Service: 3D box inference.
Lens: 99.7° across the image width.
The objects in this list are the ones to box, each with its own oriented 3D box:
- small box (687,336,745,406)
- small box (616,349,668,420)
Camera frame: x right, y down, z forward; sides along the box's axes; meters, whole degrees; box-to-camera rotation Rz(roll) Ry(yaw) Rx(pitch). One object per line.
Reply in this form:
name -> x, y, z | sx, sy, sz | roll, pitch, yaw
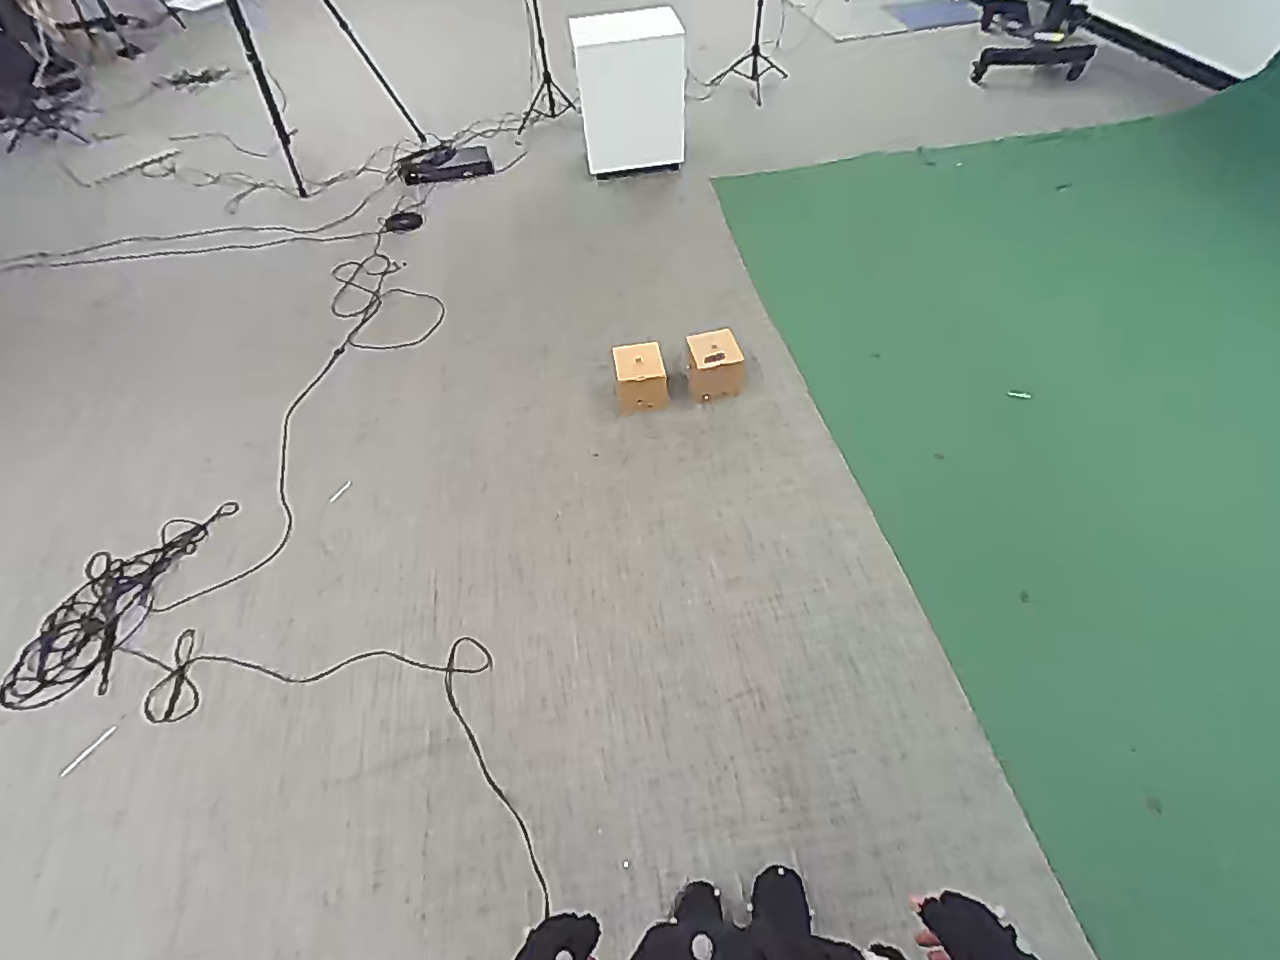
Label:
small box -> 0.270, -0.386, 1.954 | 0.168, 0.176, 0.179 | -11, 54, -5
small box -> 0.006, -0.341, 1.938 | 0.168, 0.176, 0.179 | -8, 55, -3
